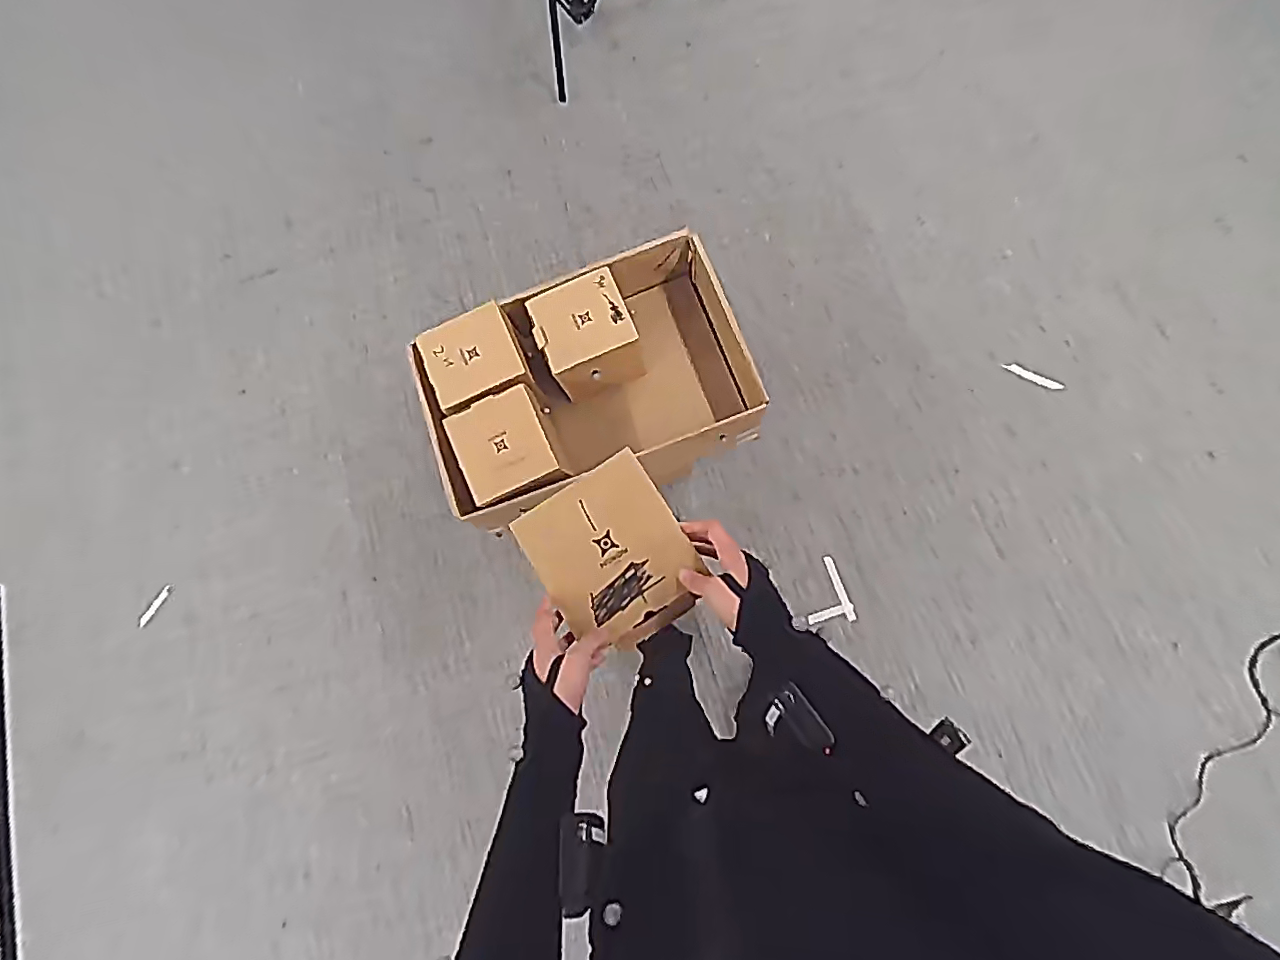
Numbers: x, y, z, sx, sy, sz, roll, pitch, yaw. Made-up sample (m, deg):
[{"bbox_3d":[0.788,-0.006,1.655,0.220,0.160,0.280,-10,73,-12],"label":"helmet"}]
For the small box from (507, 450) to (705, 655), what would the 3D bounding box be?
[{"bbox_3d":[-0.032,0.086,0.679,0.168,0.176,0.179,-33,82,0],"label":"small box"}]
